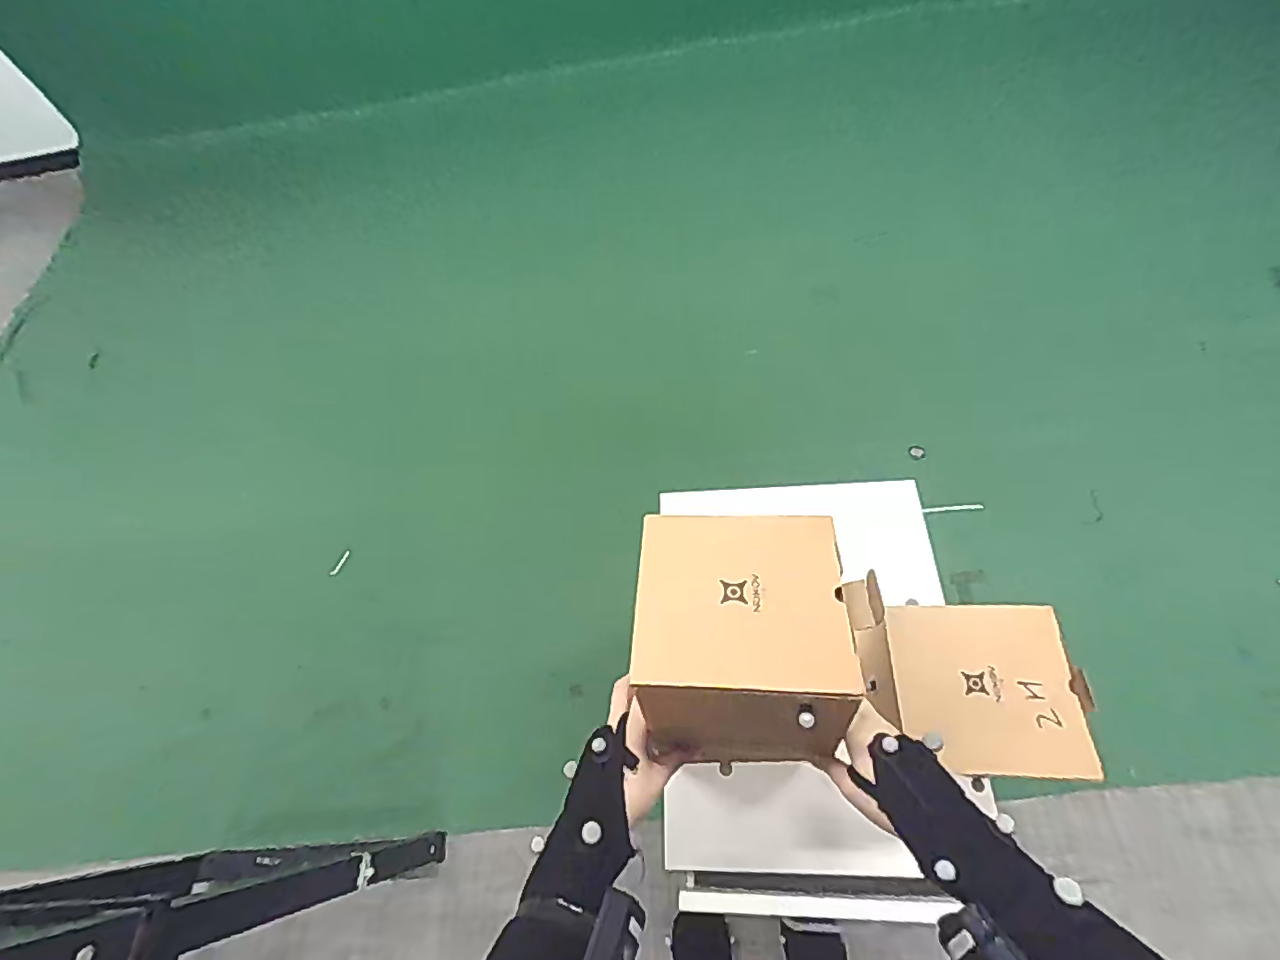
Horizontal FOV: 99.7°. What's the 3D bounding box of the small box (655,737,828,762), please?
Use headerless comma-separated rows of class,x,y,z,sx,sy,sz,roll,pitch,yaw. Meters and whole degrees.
small box,0.112,0.245,0.650,0.179,0.176,0.168,-4,63,6

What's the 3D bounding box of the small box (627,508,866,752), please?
small box,0.092,0.141,0.503,0.179,0.176,0.168,-1,49,8

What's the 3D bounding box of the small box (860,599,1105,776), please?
small box,0.359,0.237,0.615,0.179,0.176,0.168,-1,64,8
